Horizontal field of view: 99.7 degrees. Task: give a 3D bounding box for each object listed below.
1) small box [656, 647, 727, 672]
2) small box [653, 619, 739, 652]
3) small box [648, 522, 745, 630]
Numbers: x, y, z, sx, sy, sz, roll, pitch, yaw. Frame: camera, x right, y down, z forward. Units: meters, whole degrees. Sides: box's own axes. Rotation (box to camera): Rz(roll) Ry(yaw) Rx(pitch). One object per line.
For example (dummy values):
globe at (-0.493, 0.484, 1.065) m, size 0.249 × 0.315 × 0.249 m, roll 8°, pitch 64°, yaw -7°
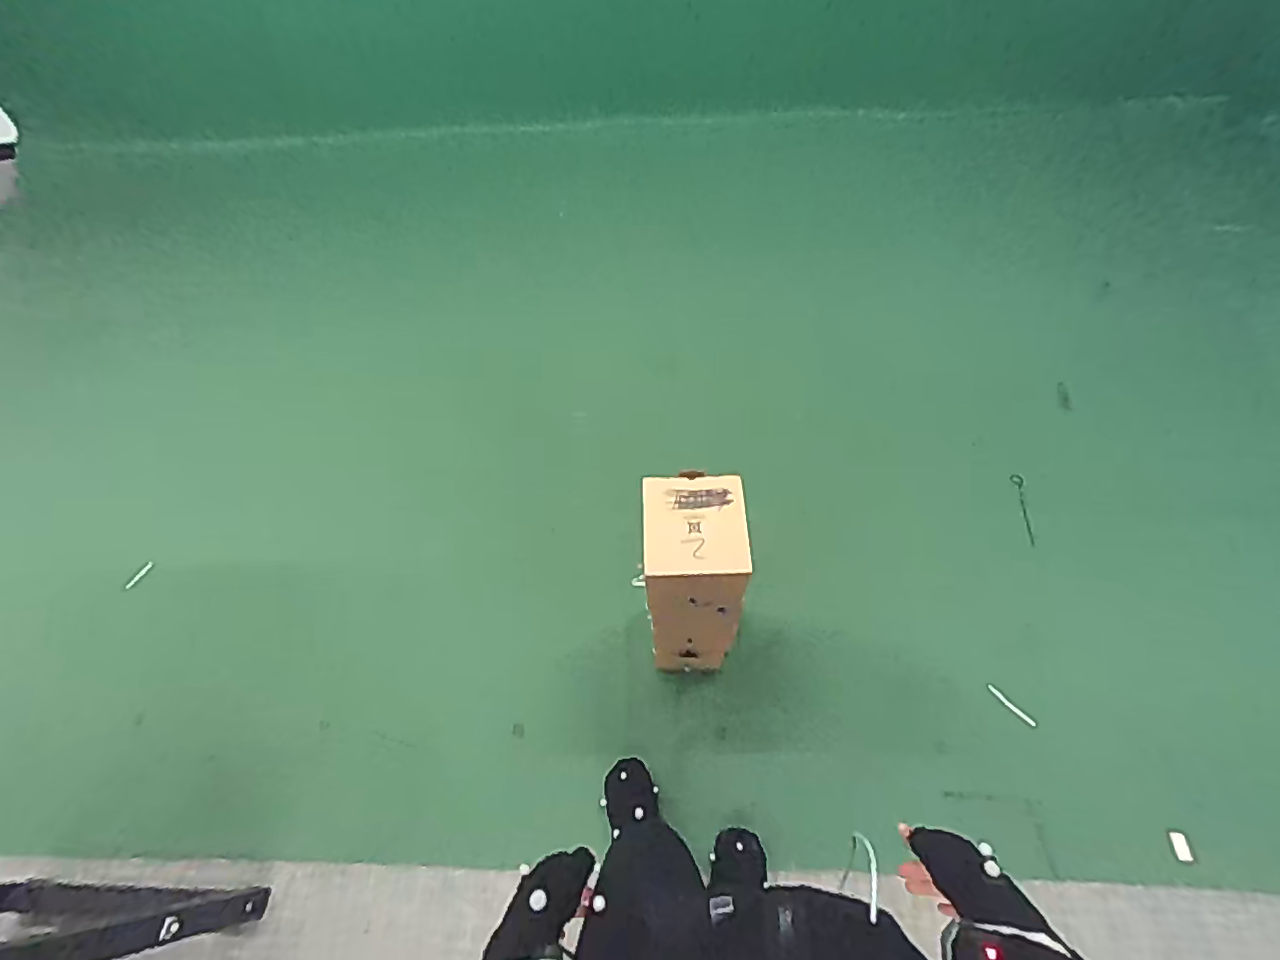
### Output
small box at (0.125, 0.368, 1.346) m, size 0.168 × 0.176 × 0.179 m, roll -1°, pitch 59°, yaw 4°
small box at (0.121, 0.279, 1.205) m, size 0.179 × 0.176 × 0.168 m, roll 2°, pitch 57°, yaw 4°
small box at (0.107, 0.195, 1.070) m, size 0.179 × 0.176 × 0.168 m, roll -1°, pitch 58°, yaw 3°
